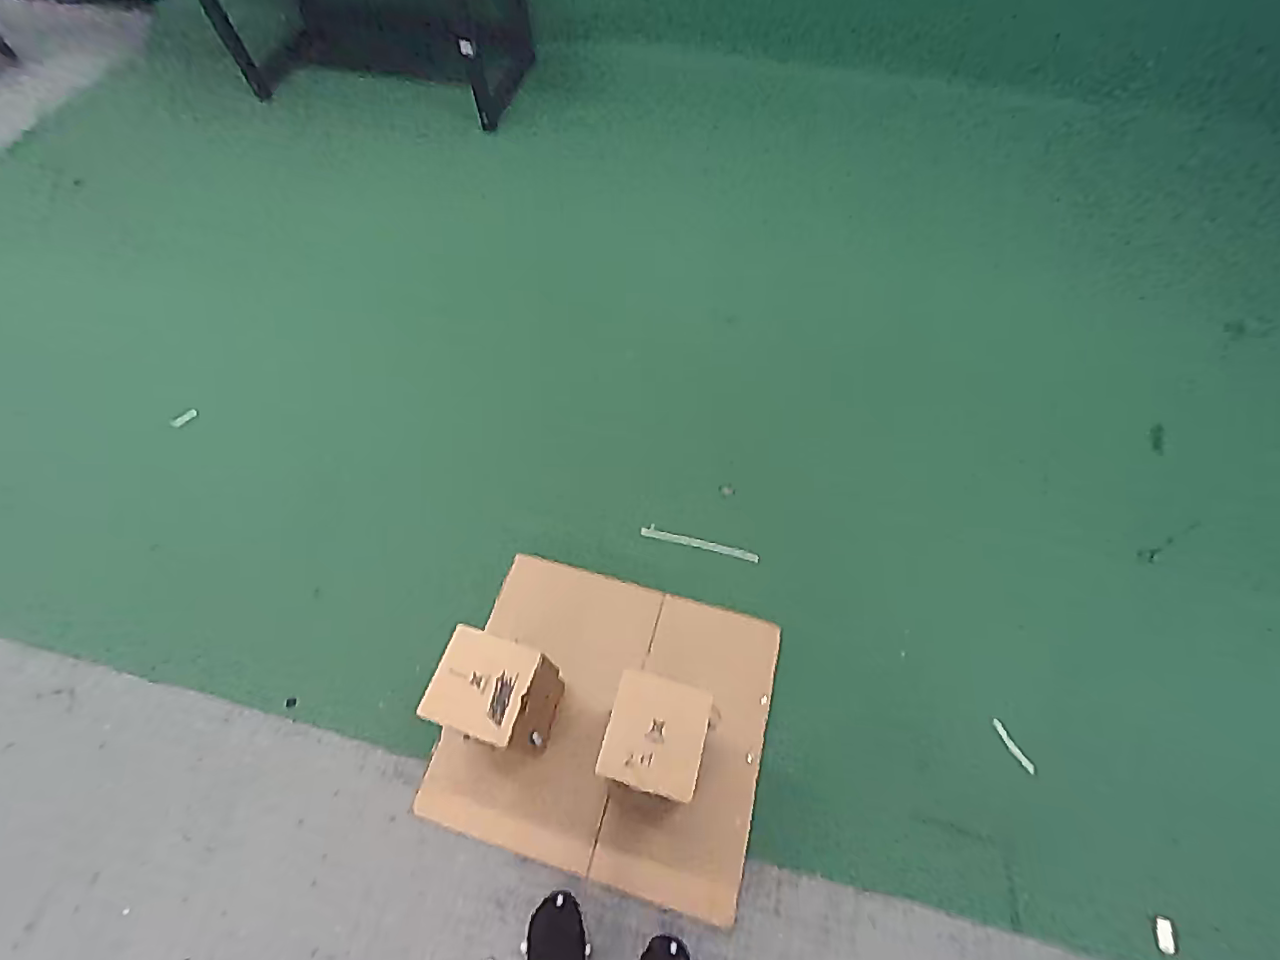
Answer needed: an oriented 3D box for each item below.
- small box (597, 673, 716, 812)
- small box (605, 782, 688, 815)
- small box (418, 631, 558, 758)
[{"bbox_3d":[0.032,0.473,0.974,0.168,0.176,0.179,14,62,10],"label":"small box"},{"bbox_3d":[0.032,0.564,1.112,0.168,0.176,0.179,12,62,8],"label":"small box"},{"bbox_3d":[-0.272,0.407,1.017,0.179,0.176,0.168,15,62,12],"label":"small box"}]
